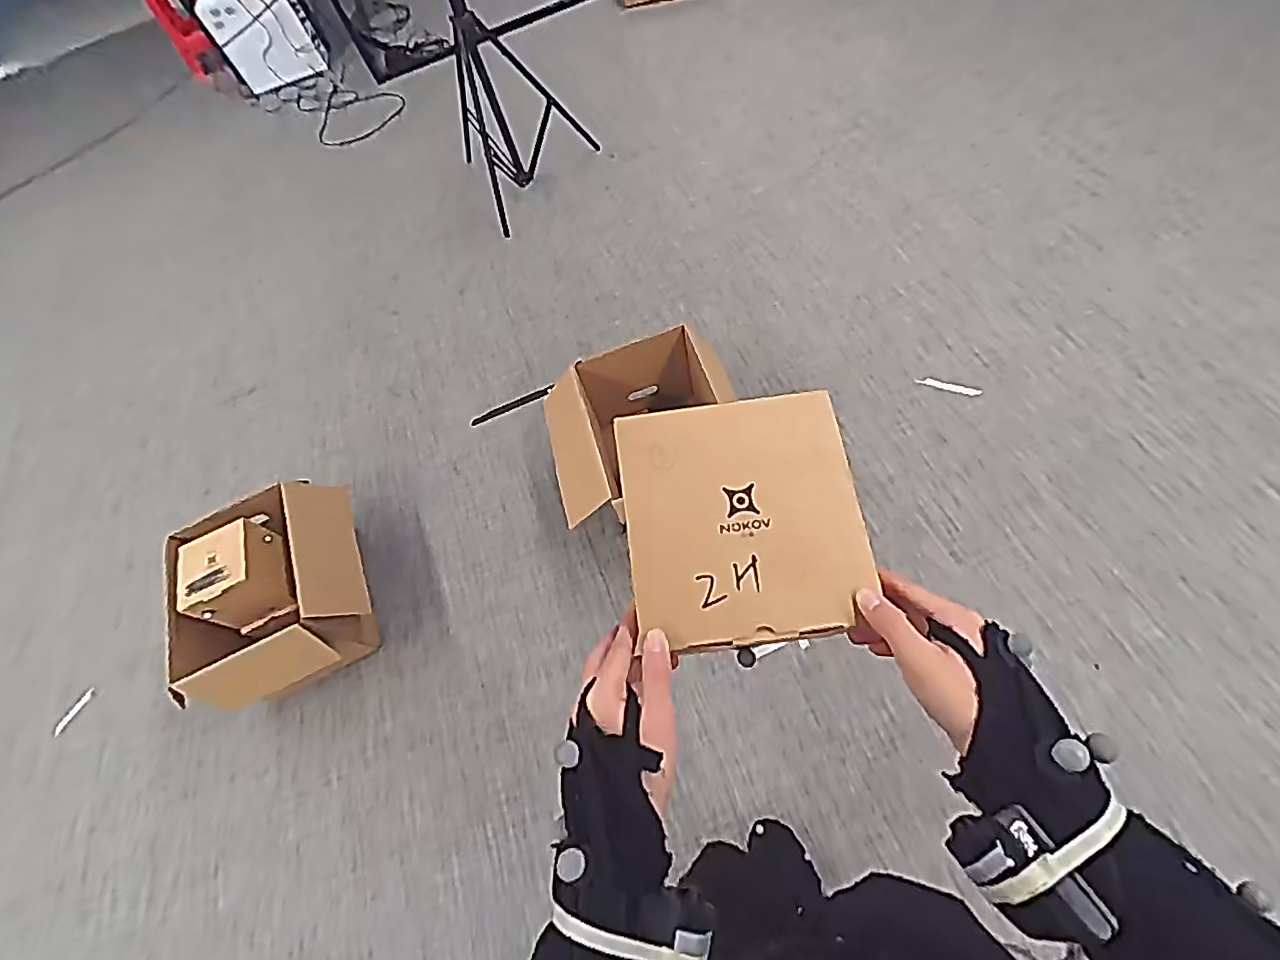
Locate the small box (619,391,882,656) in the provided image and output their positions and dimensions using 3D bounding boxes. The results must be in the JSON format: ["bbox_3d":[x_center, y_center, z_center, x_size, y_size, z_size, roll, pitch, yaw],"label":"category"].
[{"bbox_3d":[0.075,0.048,0.463,0.168,0.176,0.179,-8,70,1],"label":"small box"}]
